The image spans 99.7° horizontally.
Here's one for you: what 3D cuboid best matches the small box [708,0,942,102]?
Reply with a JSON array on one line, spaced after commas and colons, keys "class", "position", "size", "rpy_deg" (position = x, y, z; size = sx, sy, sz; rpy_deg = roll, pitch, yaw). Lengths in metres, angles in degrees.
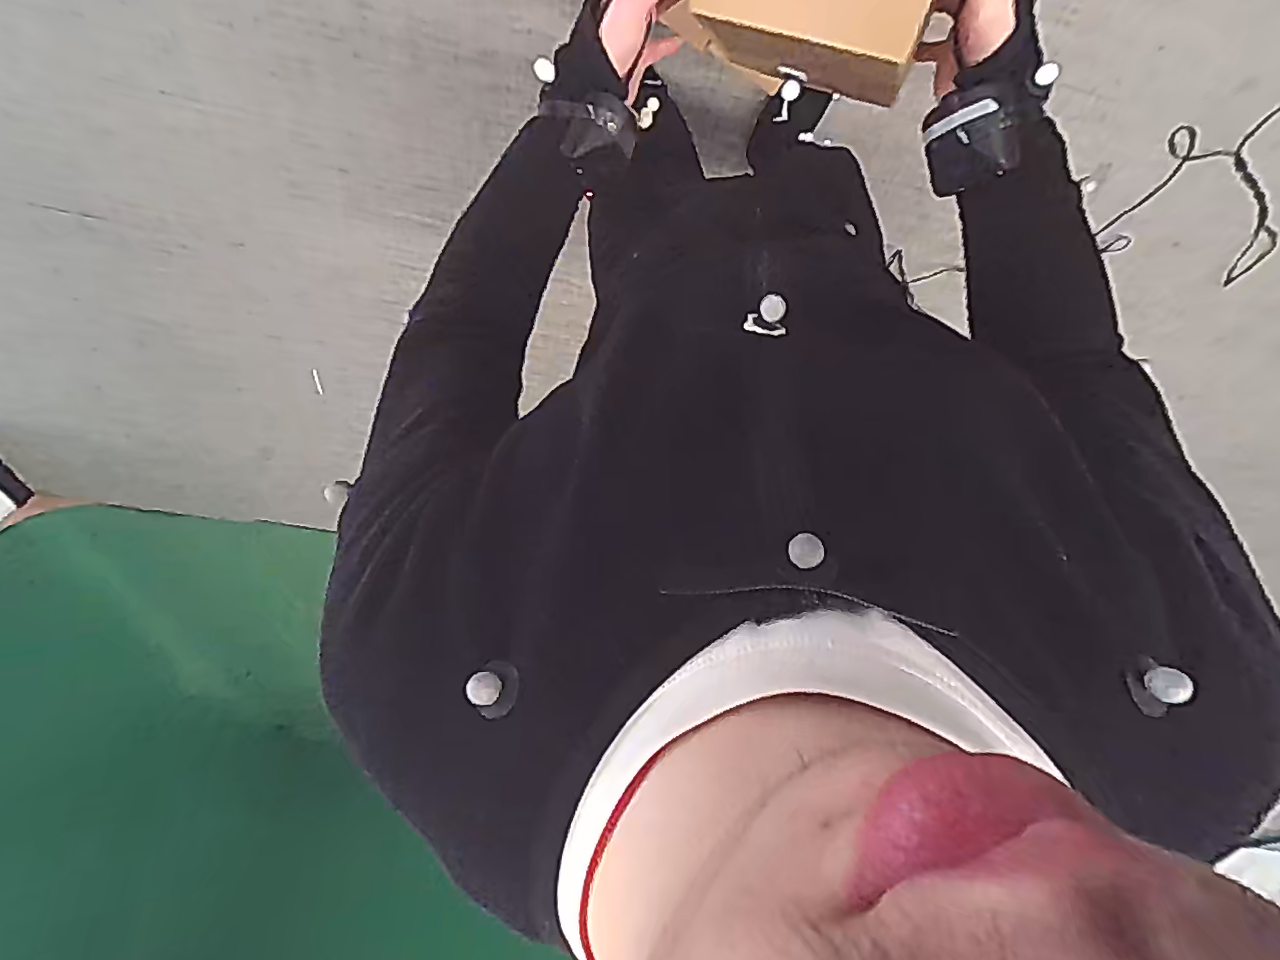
[{"class": "small box", "position": [0.156, -0.421, 0.402], "size": [0.168, 0.176, 0.179], "rpy_deg": [27, 120, 12]}]
